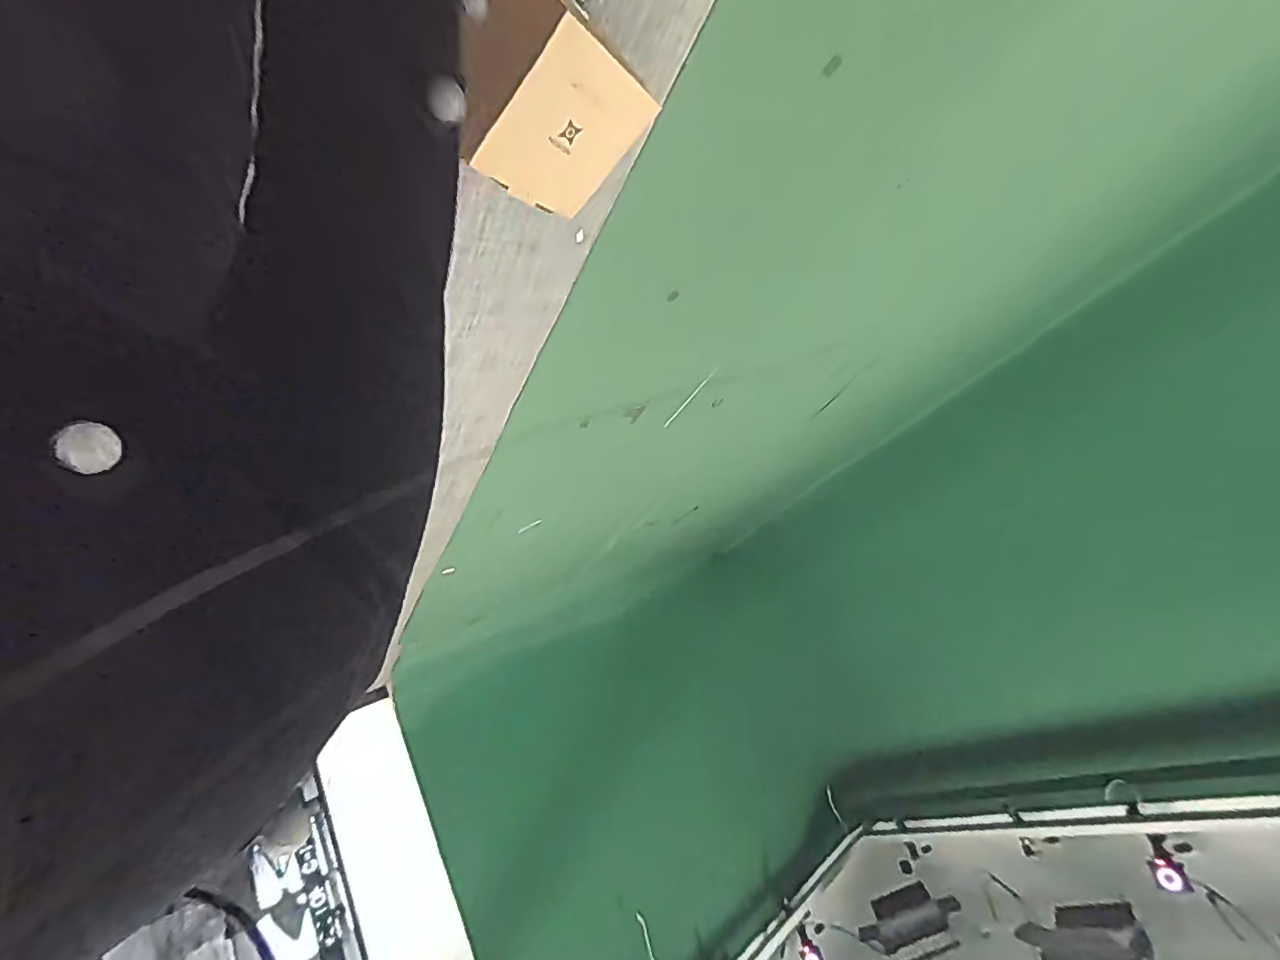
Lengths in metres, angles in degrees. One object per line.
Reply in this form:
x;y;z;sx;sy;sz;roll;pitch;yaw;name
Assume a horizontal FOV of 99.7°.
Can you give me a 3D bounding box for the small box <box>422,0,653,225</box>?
-0.124;-0.444;0.621;0.179;0.176;0.168;-39;161;29;small box
